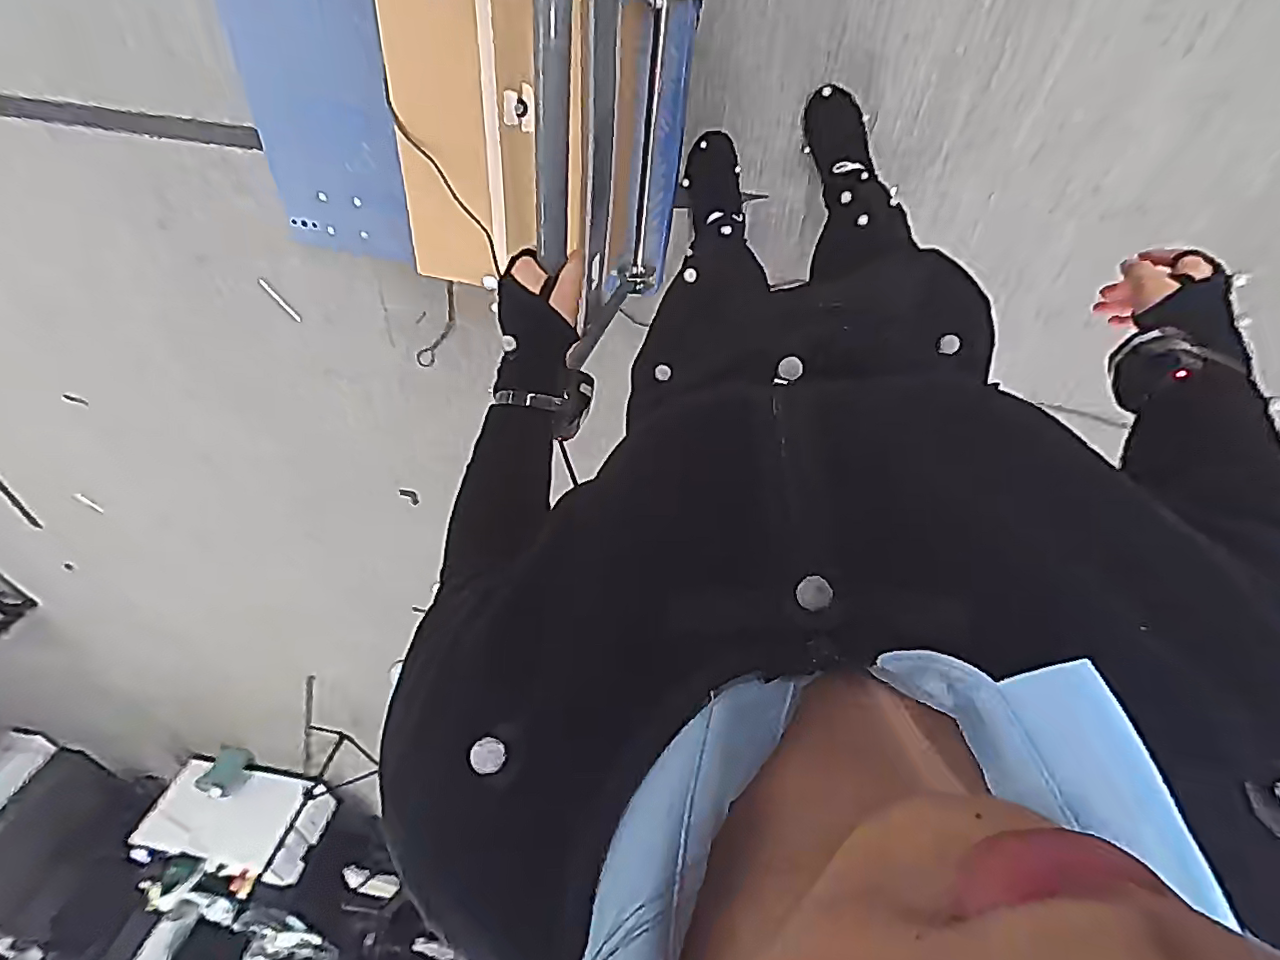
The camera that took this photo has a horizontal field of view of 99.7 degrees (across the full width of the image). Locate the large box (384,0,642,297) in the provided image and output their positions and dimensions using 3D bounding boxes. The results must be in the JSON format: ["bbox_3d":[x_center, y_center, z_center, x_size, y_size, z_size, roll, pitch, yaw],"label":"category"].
[{"bbox_3d":[-0.186,-0.583,0.937,0.320,0.320,0.408,10,129,3],"label":"large box"}]
